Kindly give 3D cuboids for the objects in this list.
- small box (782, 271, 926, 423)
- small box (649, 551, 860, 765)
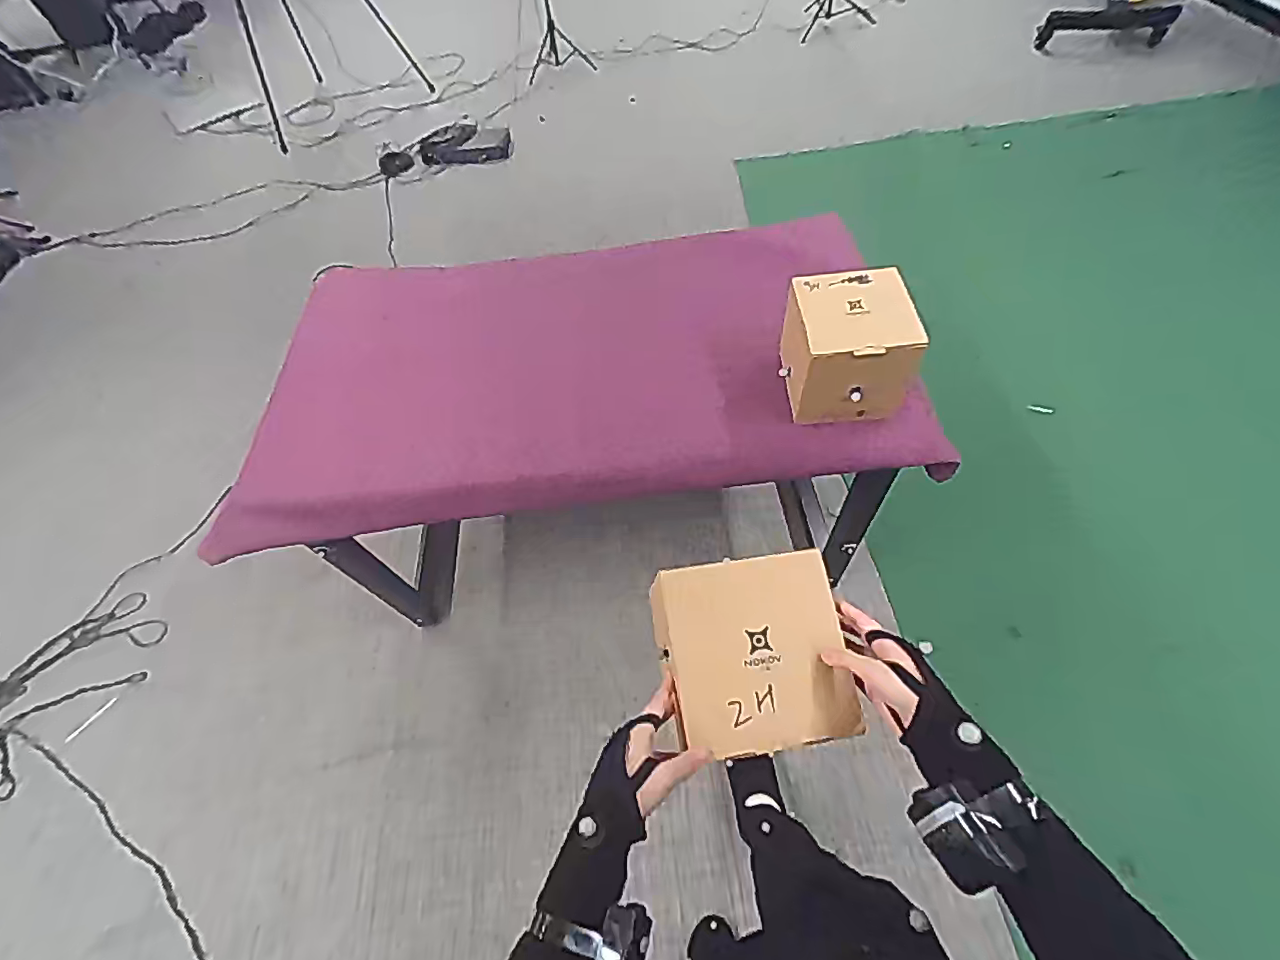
[{"bbox_3d":[0.331,-0.206,0.874,0.168,0.176,0.179,-4,59,5],"label":"small box"},{"bbox_3d":[0.104,0.185,0.582,0.168,0.176,0.179,-7,73,-4],"label":"small box"}]
